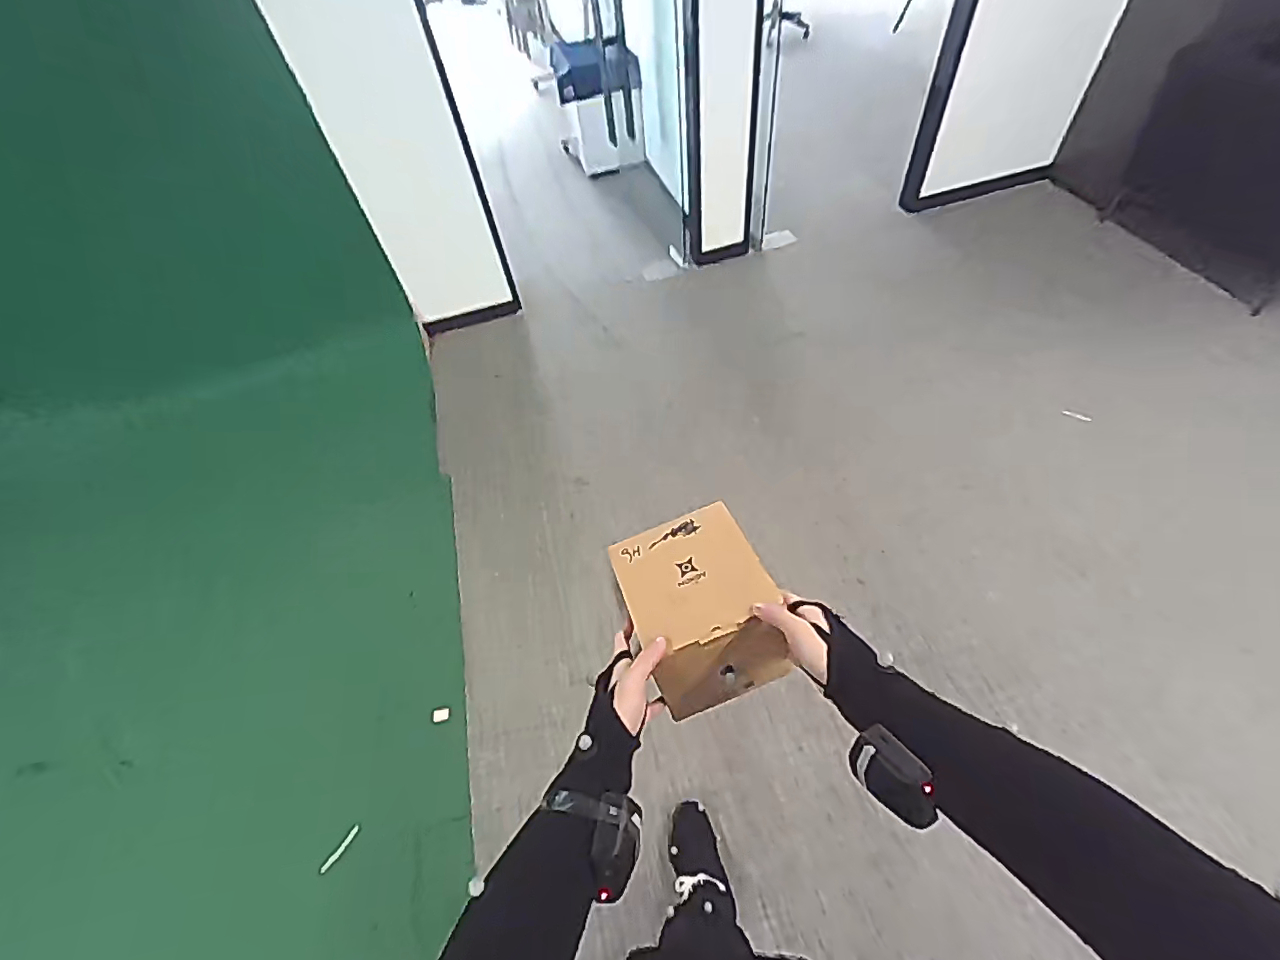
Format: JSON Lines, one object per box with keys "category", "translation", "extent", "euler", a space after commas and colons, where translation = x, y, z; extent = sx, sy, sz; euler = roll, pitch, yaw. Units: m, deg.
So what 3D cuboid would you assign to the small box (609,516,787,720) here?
{"category": "small box", "translation": [0.078, 0.184, 0.700], "extent": [0.168, 0.176, 0.179], "euler": [-22, 42, -4]}
